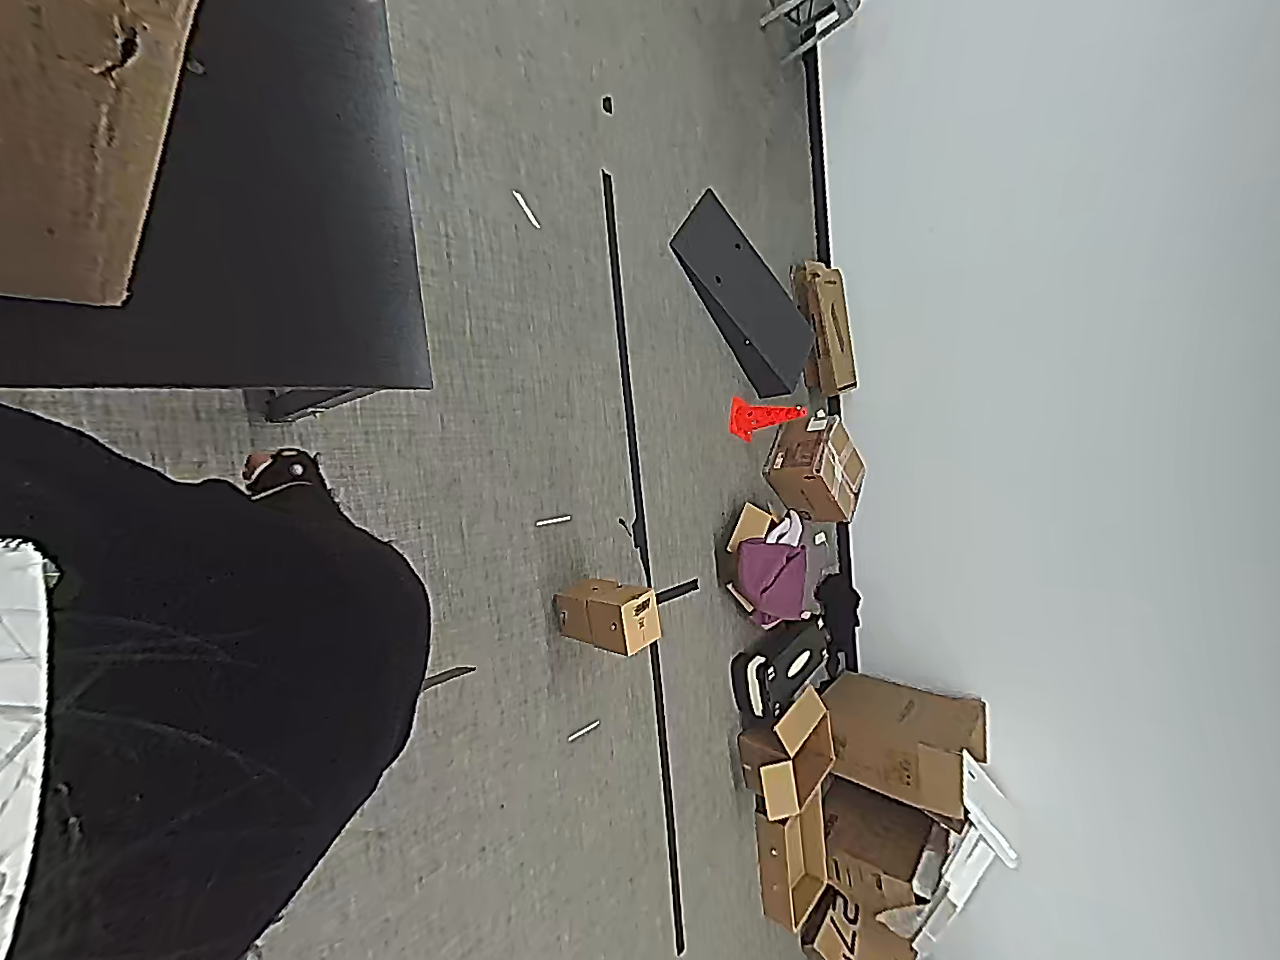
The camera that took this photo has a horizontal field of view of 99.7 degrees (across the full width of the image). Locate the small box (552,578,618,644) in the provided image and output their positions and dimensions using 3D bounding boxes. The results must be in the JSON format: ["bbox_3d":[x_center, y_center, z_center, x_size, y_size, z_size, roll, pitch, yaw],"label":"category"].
[{"bbox_3d":[-0.186,0.461,1.935,0.179,0.176,0.168,-19,102,-44],"label":"small box"}]

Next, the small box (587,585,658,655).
[{"bbox_3d":[-0.063,0.463,1.825,0.168,0.176,0.179,-16,101,-46],"label":"small box"}]
